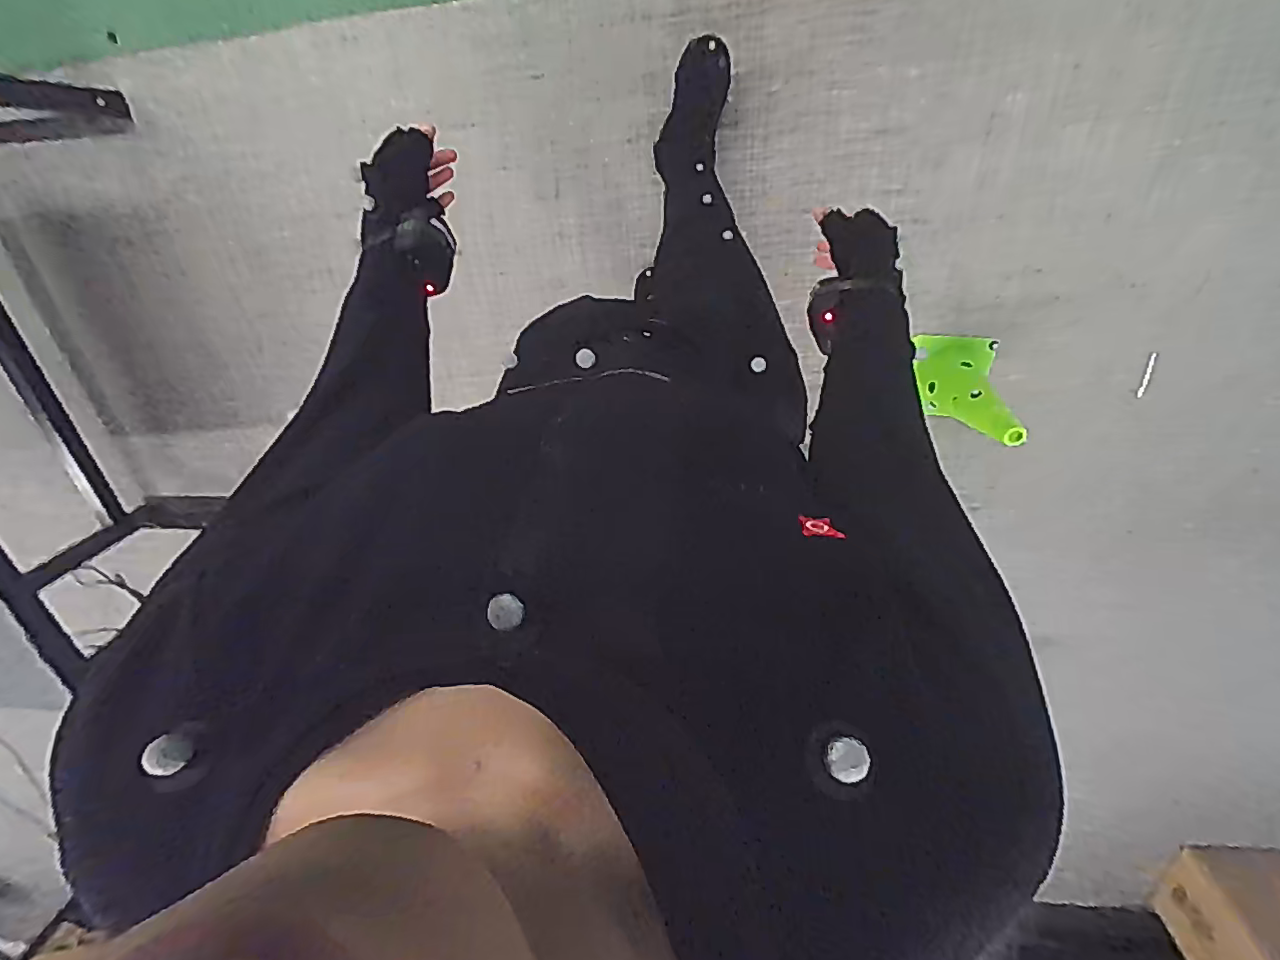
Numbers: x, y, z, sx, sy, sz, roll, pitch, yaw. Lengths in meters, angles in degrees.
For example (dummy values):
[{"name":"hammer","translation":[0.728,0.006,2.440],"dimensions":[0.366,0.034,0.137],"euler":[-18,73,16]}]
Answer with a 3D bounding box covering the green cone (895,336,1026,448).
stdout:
[{"name":"green cone","translation":[0.724,-0.168,1.173],"dimensions":[0.200,0.368,0.202],"euler":[4,119,6]}]
